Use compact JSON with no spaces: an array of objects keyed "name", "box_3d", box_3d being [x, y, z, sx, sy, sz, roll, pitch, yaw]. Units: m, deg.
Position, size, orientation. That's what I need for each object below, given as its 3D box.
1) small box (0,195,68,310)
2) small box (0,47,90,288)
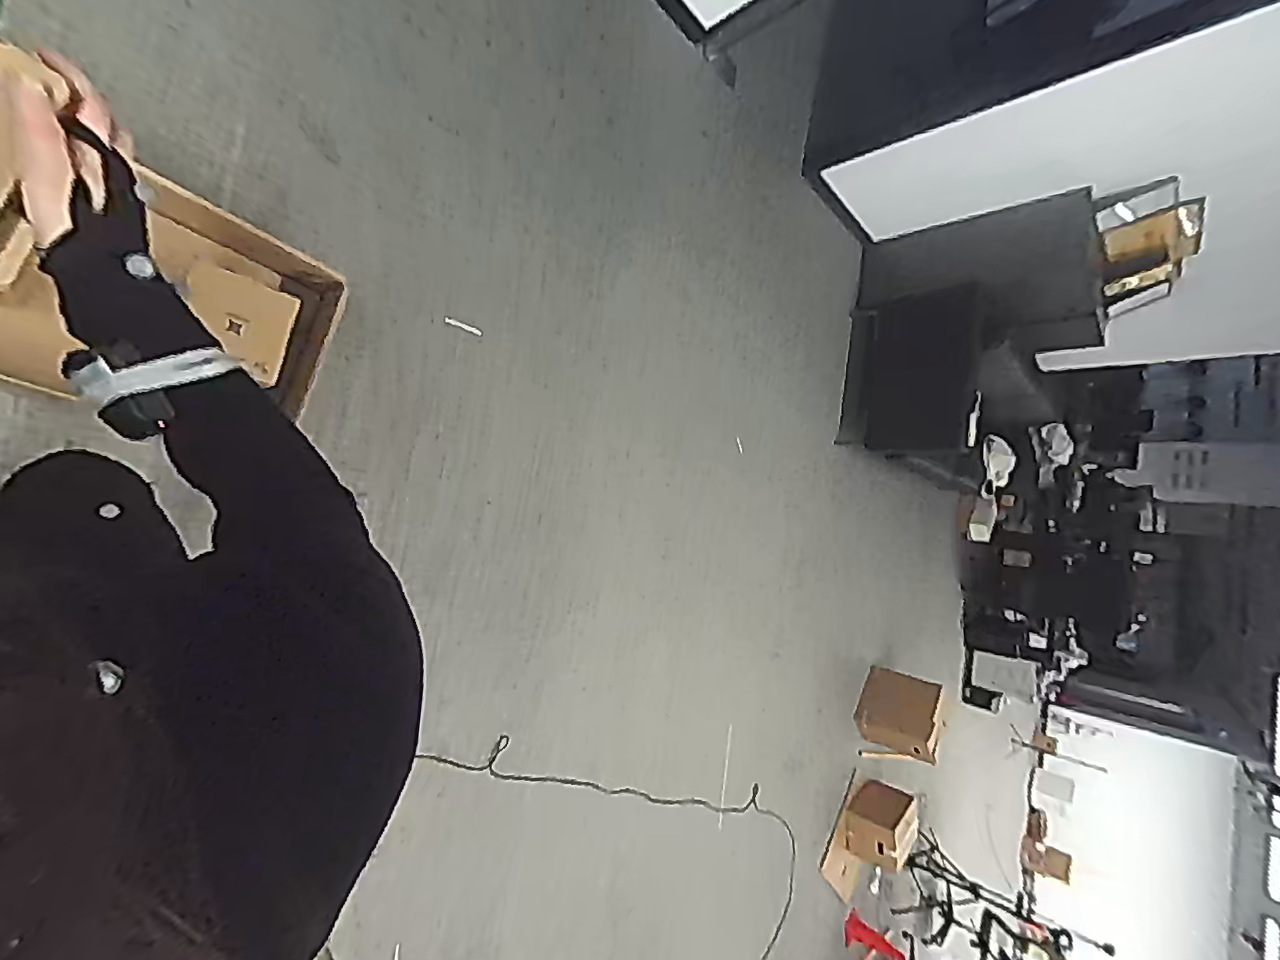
[{"name":"small box","box_3d":[-0.991,-0.374,0.796,0.168,0.176,0.179,27,74,-45]},{"name":"small box","box_3d":[-0.495,-0.224,0.340,0.168,0.176,0.179,30,92,-47]}]
